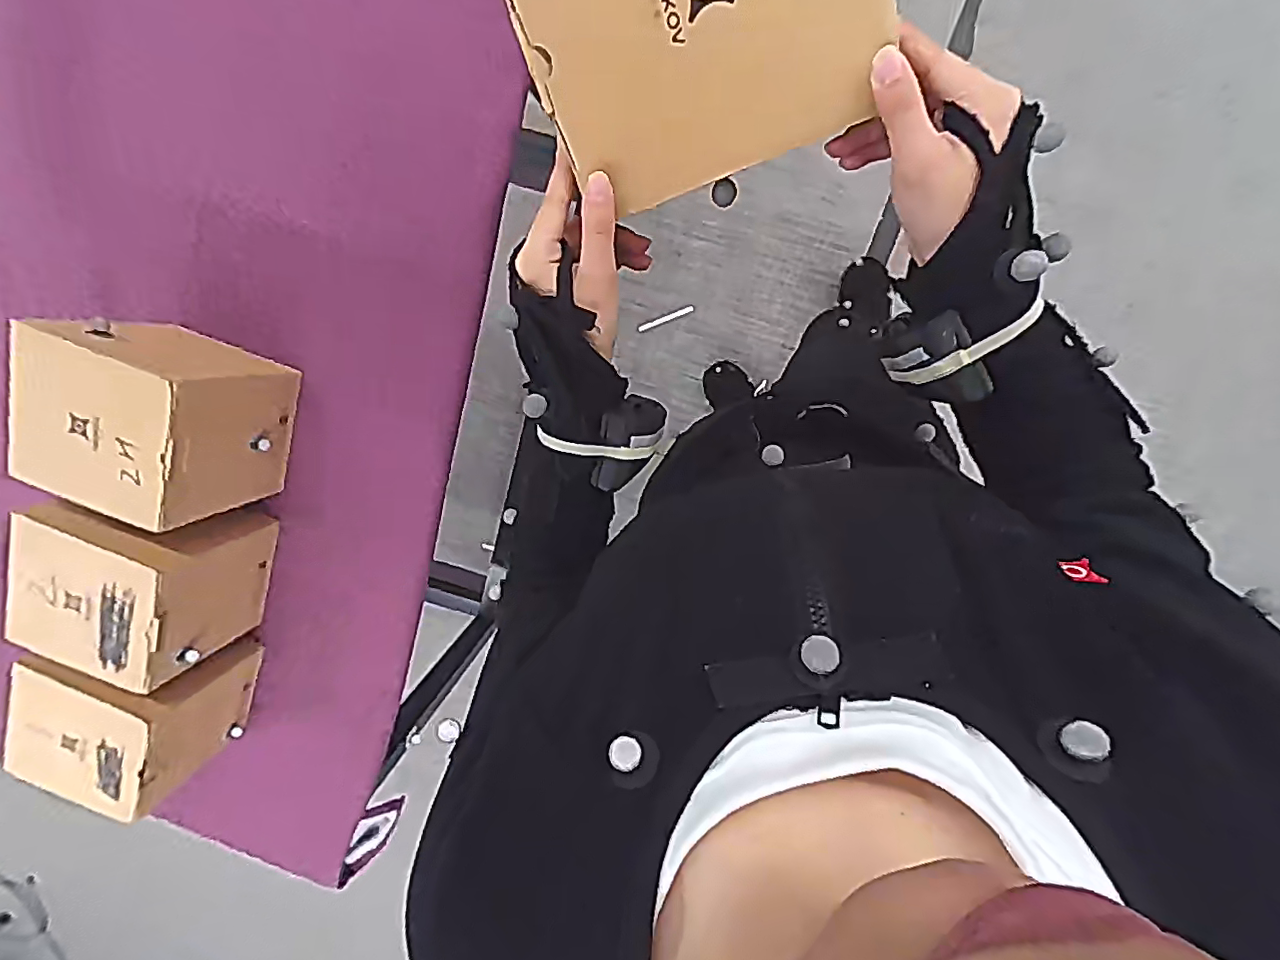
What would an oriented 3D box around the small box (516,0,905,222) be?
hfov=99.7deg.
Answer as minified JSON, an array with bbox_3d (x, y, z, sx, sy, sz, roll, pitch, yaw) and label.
[{"bbox_3d":[0.032,-0.279,0.324,0.179,0.176,0.168,-16,119,13],"label":"small box"}]
